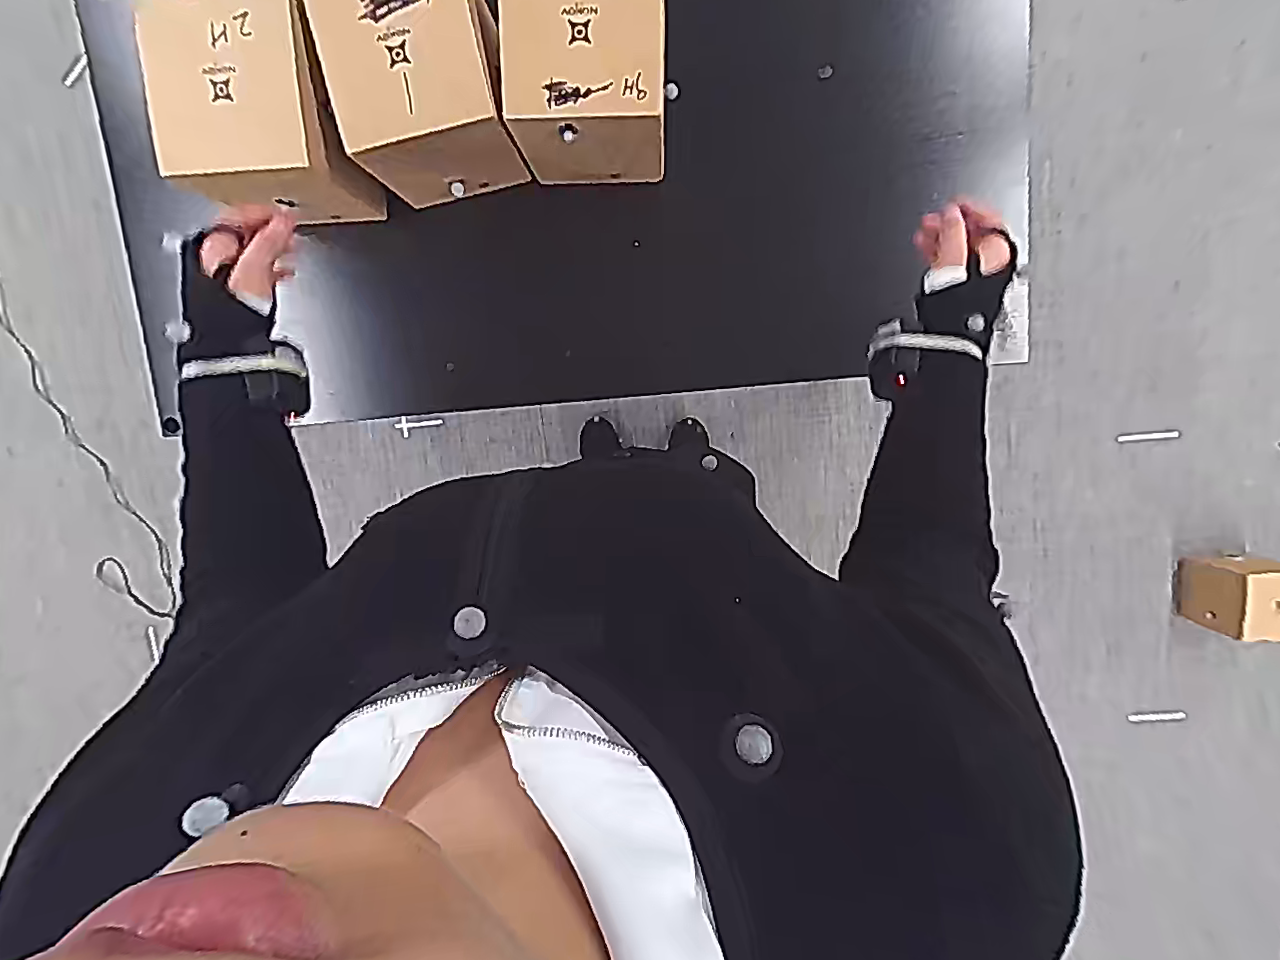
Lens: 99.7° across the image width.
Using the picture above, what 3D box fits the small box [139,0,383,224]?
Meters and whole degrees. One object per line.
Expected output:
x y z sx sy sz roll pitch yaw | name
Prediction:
-0.428 -0.418 0.643 0.168 0.176 0.179 -2 97 2 | small box

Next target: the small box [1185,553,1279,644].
1.546 0.296 1.373 0.168 0.176 0.179 -6 97 3 | small box
